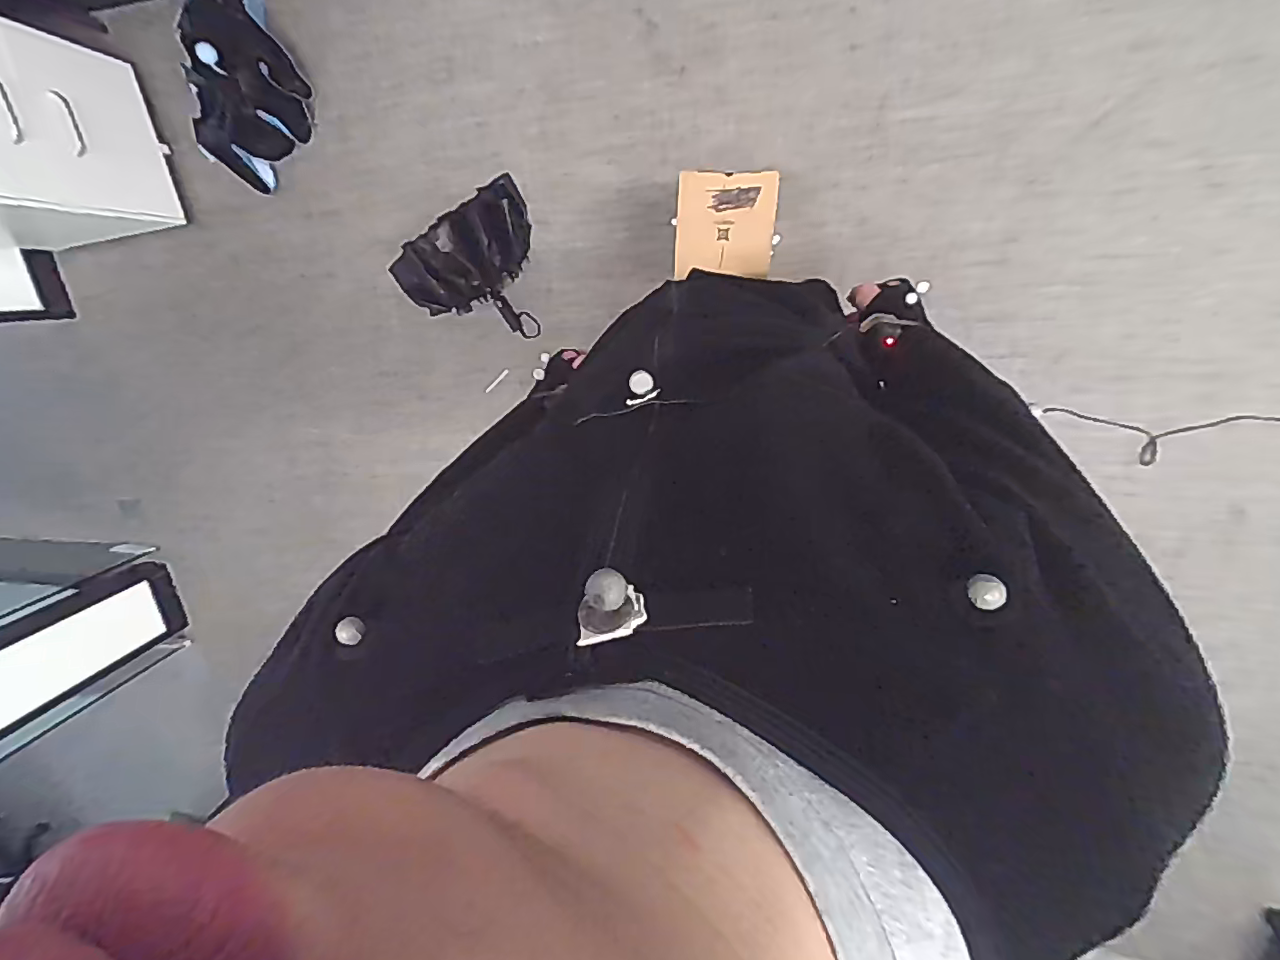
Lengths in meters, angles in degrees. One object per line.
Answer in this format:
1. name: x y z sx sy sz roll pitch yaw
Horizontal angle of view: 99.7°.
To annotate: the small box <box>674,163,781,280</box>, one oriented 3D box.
1. small box: 0.157 -0.464 0.989 0.168 0.176 0.179 6 111 9
